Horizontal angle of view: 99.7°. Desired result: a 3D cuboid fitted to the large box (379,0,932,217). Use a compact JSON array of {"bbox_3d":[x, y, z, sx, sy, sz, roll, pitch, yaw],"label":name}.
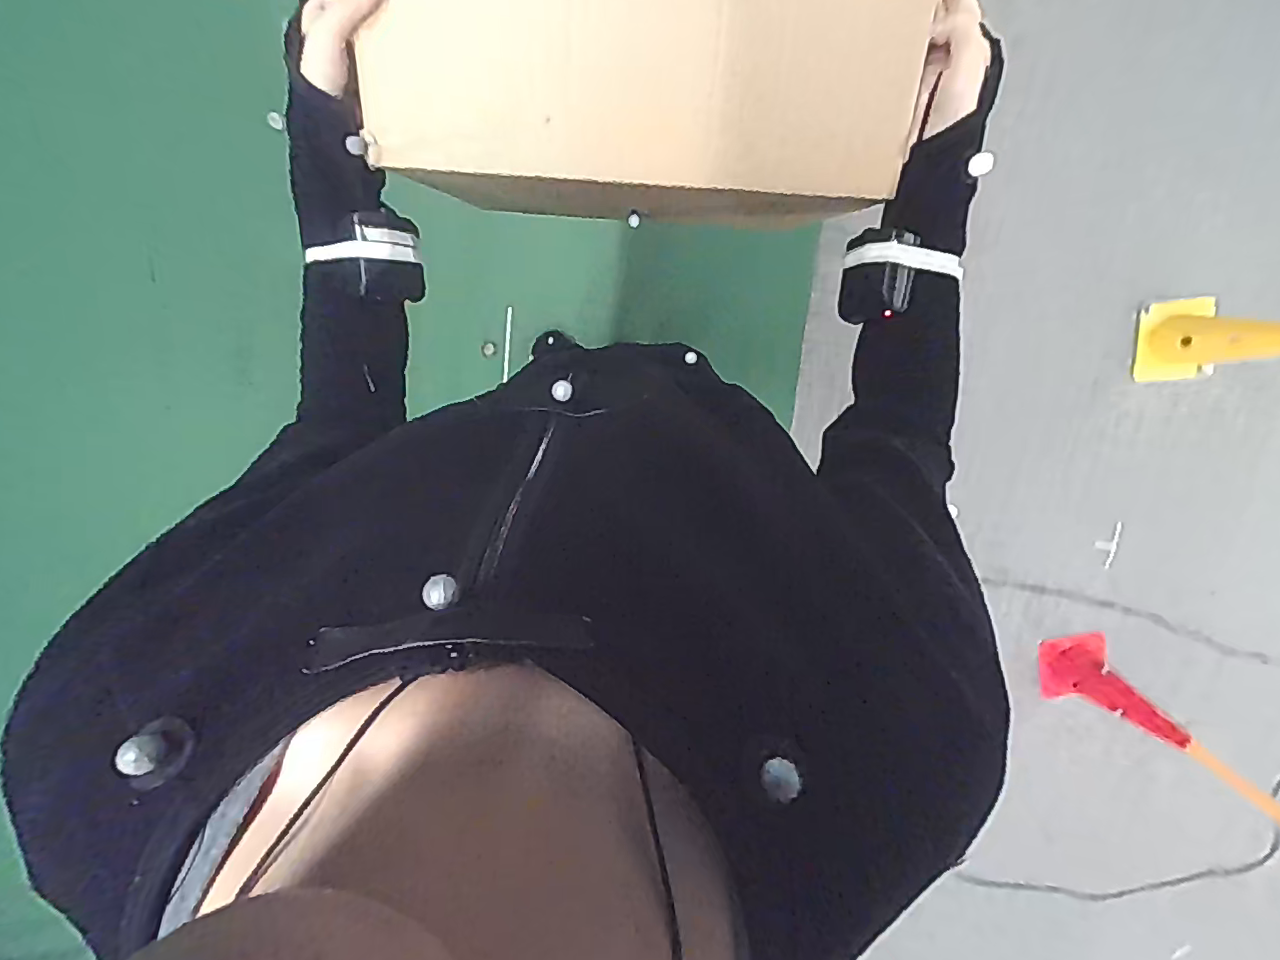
[{"bbox_3d":[0.017,-0.438,0.511,0.408,0.320,0.320,4,111,-1],"label":"large box"}]
